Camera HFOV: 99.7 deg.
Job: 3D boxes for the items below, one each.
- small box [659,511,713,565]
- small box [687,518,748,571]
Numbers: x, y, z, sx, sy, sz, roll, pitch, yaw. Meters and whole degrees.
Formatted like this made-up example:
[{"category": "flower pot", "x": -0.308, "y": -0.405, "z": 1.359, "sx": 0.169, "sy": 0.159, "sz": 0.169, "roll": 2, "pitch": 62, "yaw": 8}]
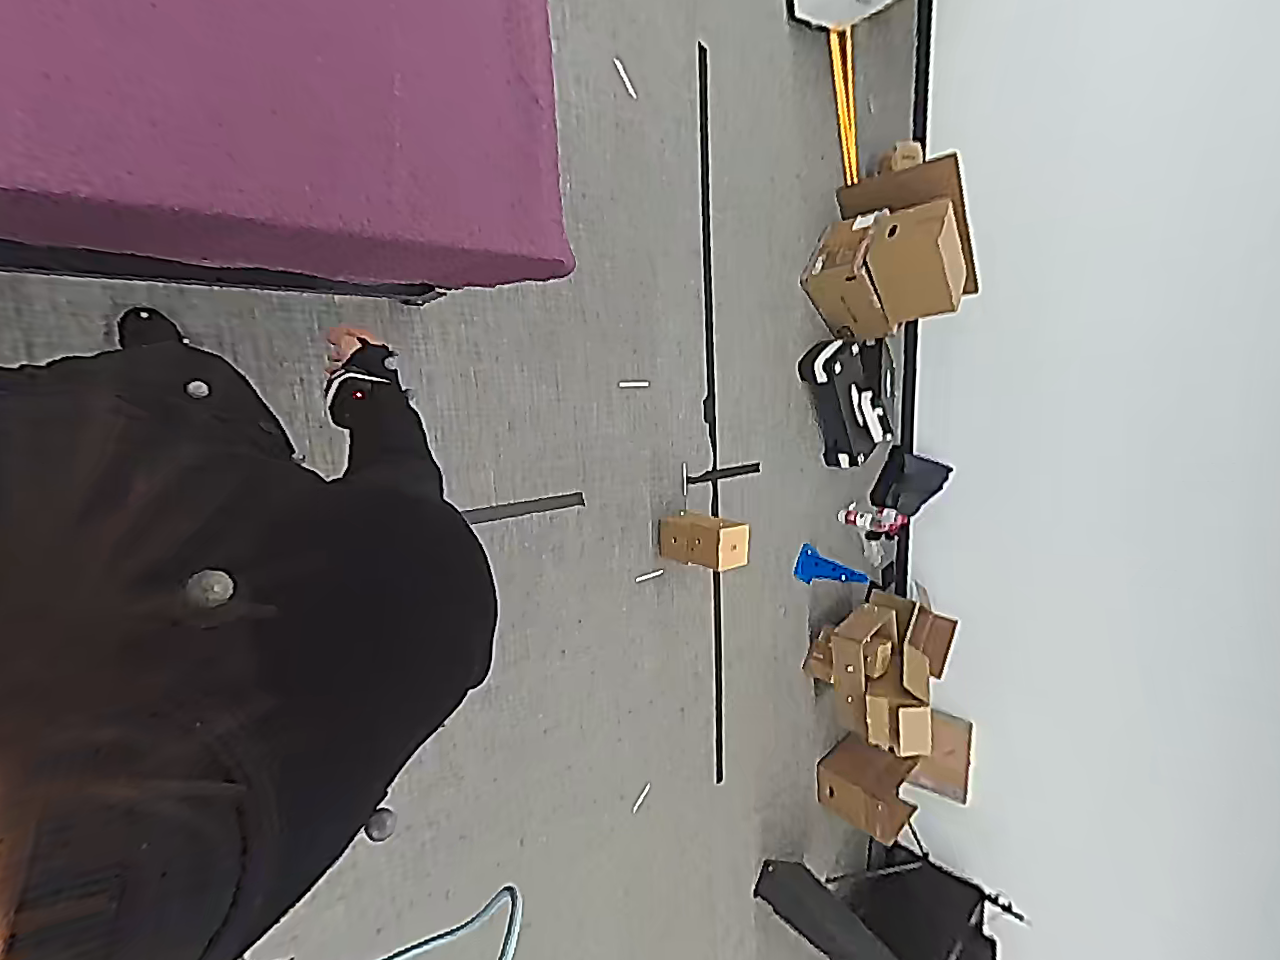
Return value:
[{"category": "small box", "x": 0.194, "y": 0.238, "z": 2.280, "sx": 0.168, "sy": 0.176, "sz": 0.179, "roll": -11, "pitch": 103, "yaw": -39}, {"category": "small box", "x": 0.309, "y": 0.251, "z": 2.165, "sx": 0.179, "sy": 0.176, "sz": 0.168, "roll": -5, "pitch": 100, "yaw": -39}]
